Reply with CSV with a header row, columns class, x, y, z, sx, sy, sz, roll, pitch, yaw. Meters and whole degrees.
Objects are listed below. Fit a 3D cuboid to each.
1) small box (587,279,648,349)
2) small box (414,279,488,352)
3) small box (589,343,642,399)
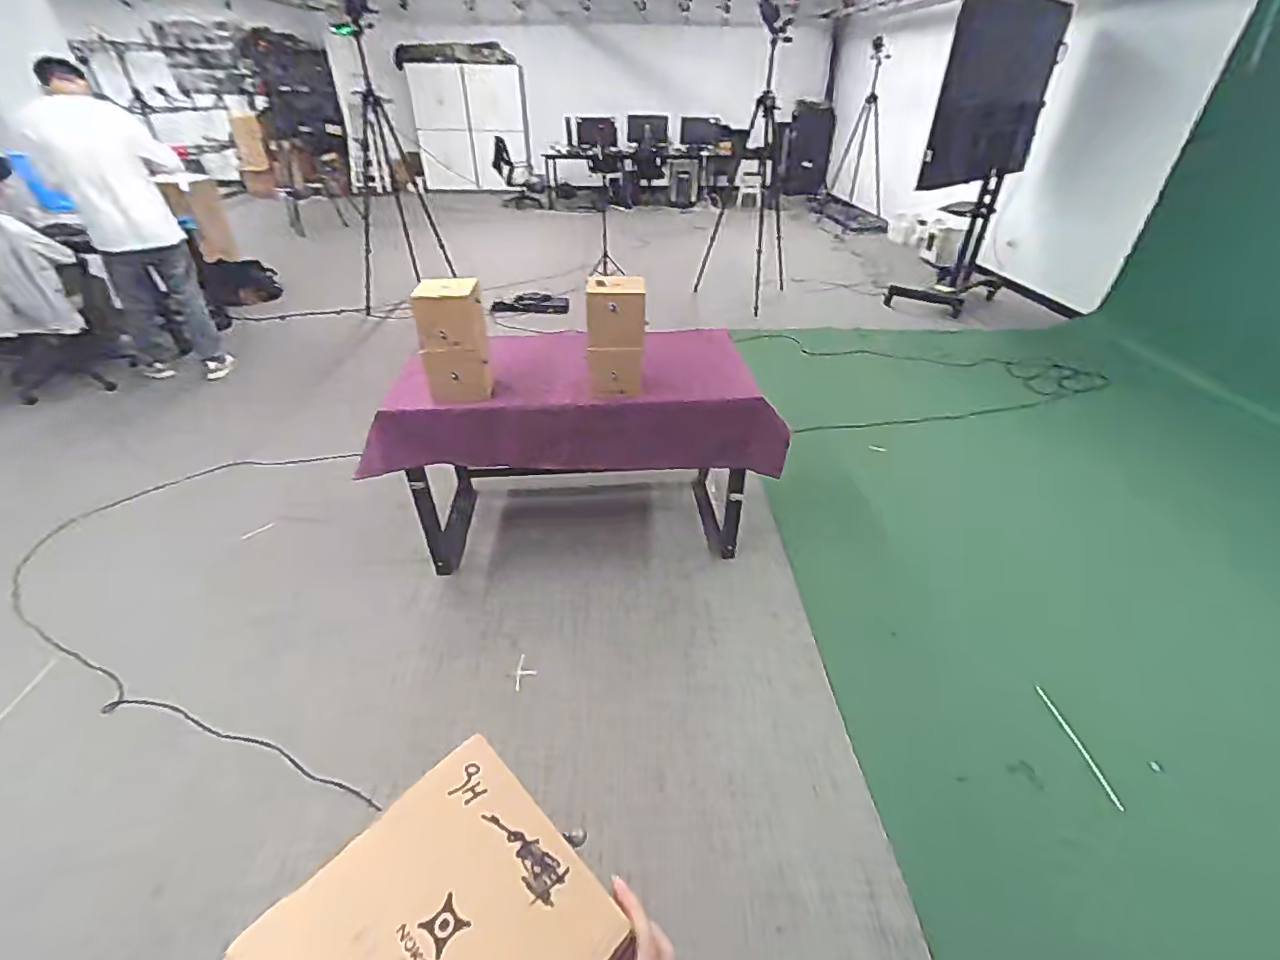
class,x,y,z,sx,sy,sz,roll,pitch,yaw
small box,-0.066,-0.509,1.657,0.179,0.176,0.168,1,36,-2
small box,-0.562,-0.497,1.632,0.168,0.176,0.179,-2,36,-4
small box,-0.076,-0.373,1.750,0.168,0.176,0.179,0,35,-2
